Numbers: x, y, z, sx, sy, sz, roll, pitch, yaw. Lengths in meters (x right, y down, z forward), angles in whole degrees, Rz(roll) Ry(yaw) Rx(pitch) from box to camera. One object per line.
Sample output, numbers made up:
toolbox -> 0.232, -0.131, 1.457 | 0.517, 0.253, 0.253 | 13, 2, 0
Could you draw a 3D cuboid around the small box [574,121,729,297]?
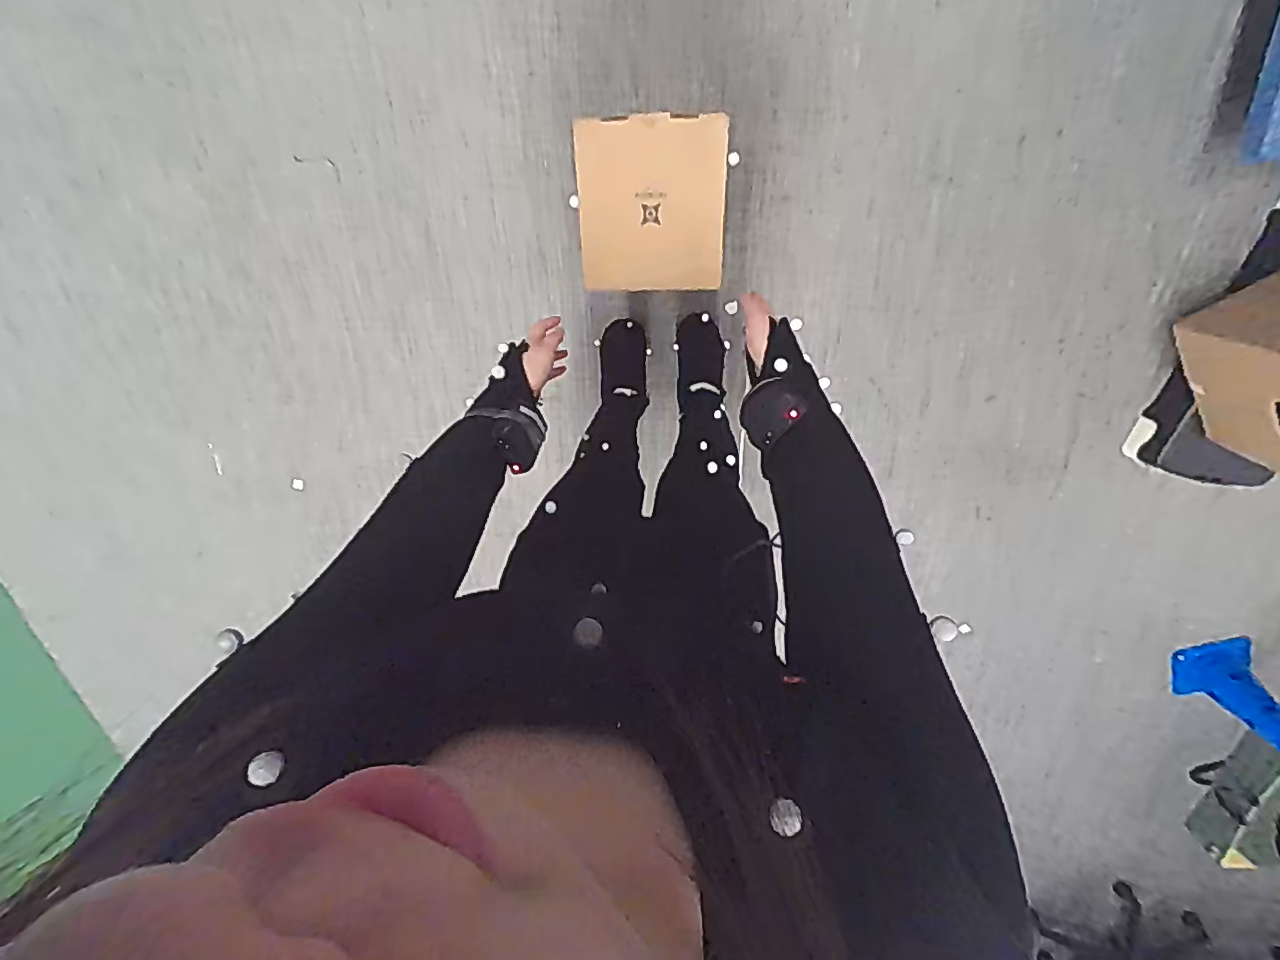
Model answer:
small box -> 0.021, -0.333, 0.672 | 0.168, 0.176, 0.179 | 1, 118, 5
